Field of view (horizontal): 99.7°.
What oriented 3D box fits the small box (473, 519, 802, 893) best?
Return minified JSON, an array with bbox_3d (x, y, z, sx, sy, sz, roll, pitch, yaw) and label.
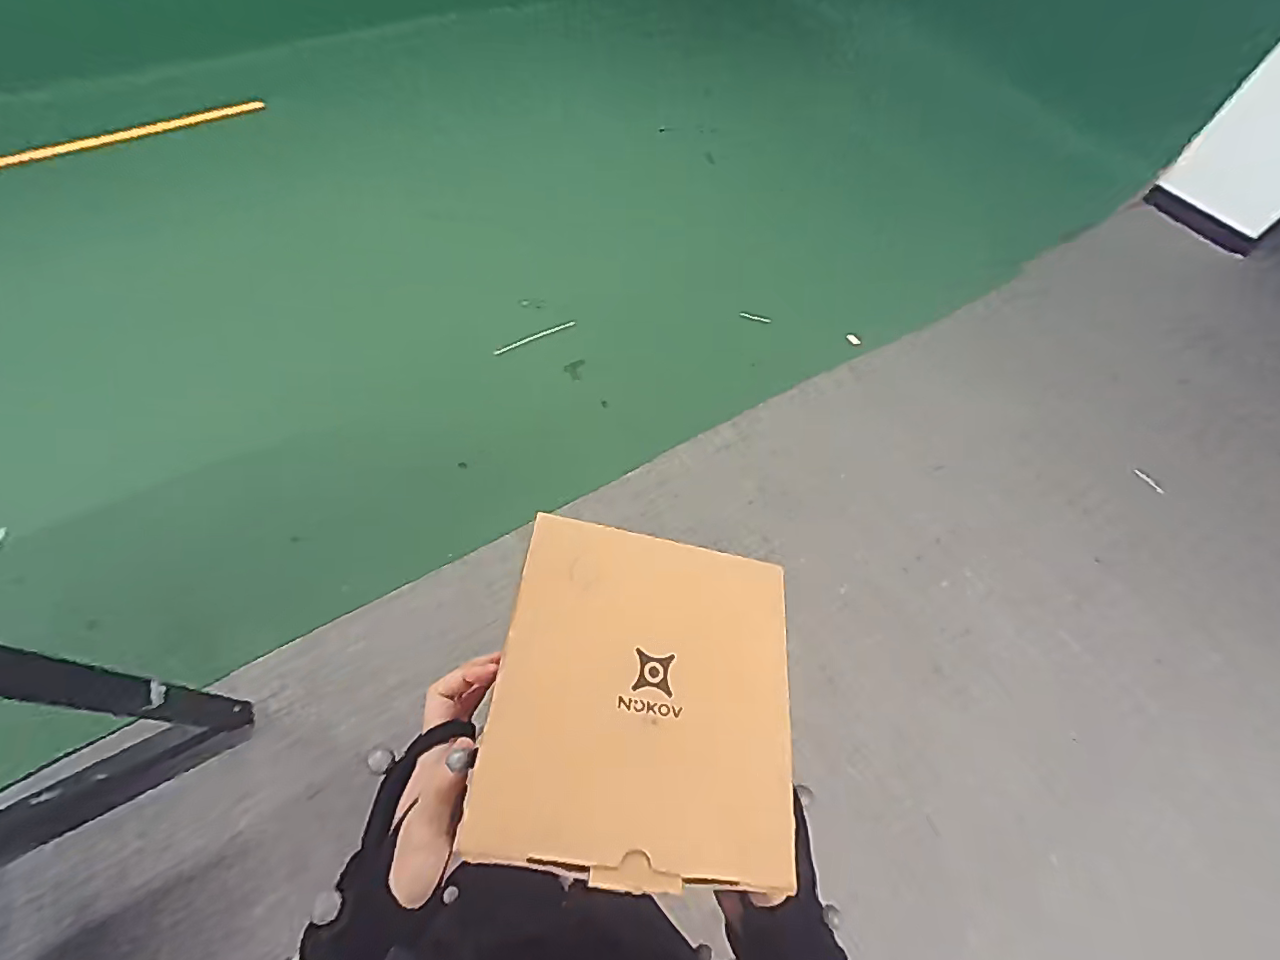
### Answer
[{"bbox_3d":[-0.011,0.155,0.365,0.168,0.176,0.179,13,56,-10],"label":"small box"}]
